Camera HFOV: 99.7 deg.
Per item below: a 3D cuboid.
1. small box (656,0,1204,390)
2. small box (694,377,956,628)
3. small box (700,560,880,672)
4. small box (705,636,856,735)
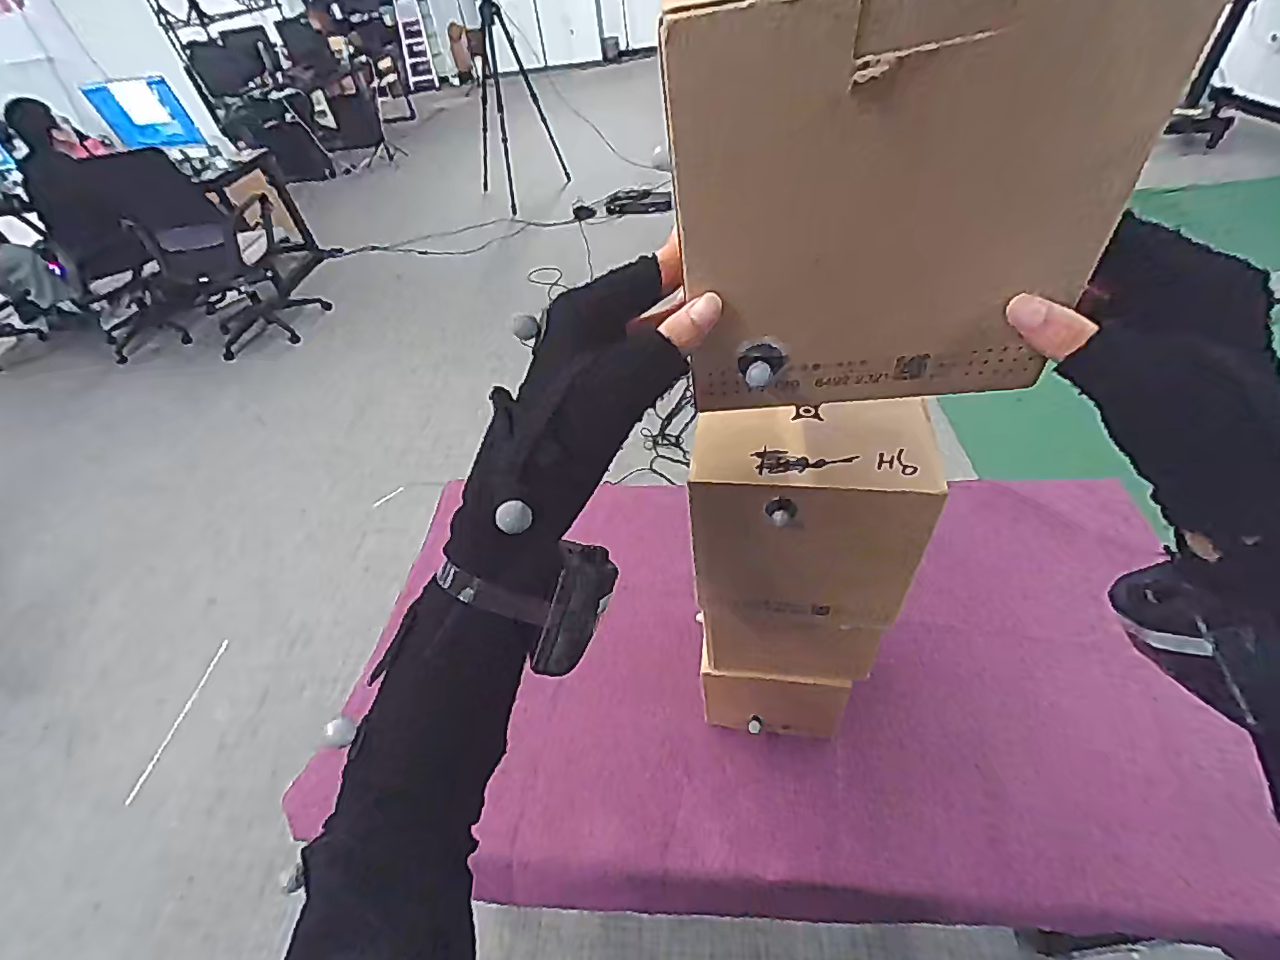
[{"bbox_3d":[0.103,-0.157,0.263,0.168,0.176,0.179,-4,49,9],"label":"small box"},{"bbox_3d":[0.140,0.000,0.460,0.168,0.176,0.179,2,47,13],"label":"small box"},{"bbox_3d":[0.163,0.095,0.593,0.179,0.176,0.168,0,46,11],"label":"small box"},{"bbox_3d":[0.177,0.208,0.709,0.168,0.176,0.179,1,47,12],"label":"small box"}]
